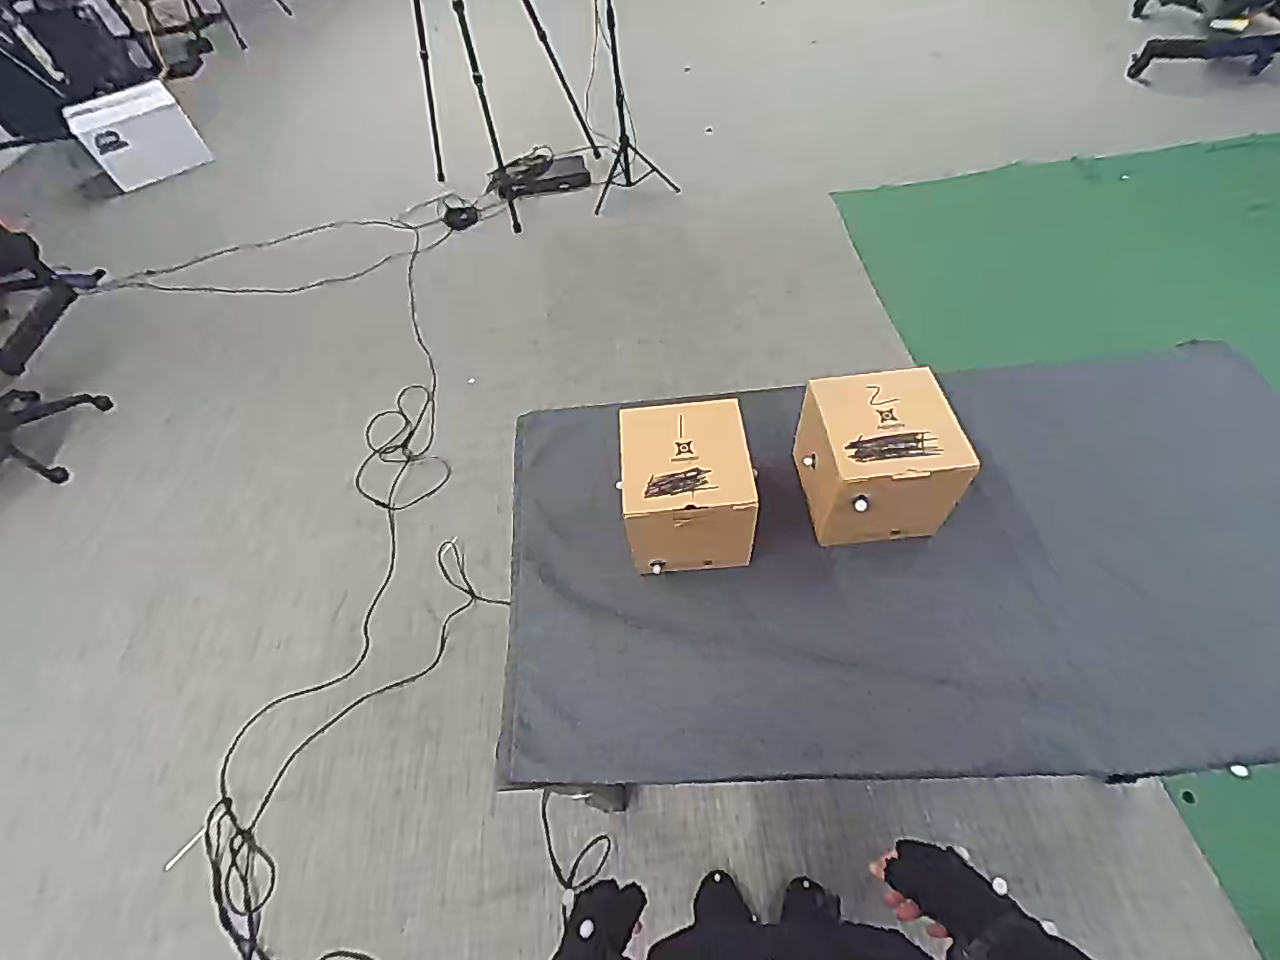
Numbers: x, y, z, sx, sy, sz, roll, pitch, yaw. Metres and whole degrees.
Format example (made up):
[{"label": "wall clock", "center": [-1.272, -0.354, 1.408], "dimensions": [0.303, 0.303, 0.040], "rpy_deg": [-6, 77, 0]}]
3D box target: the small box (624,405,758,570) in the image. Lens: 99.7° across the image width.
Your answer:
[{"label": "small box", "center": [0.069, 0.019, 0.769], "dimensions": [0.168, 0.176, 0.179], "rpy_deg": [-5, 54, 3]}]
